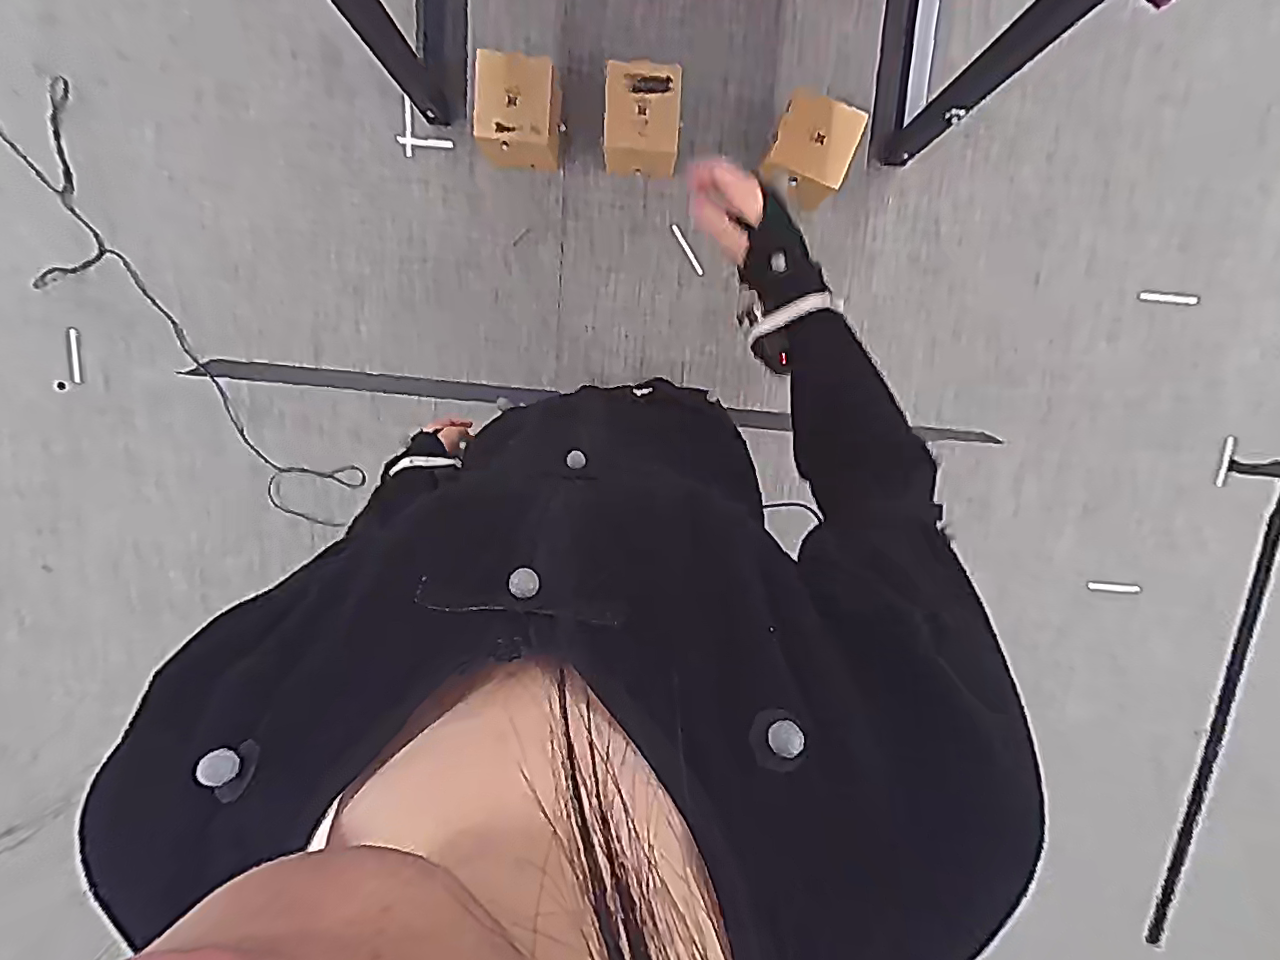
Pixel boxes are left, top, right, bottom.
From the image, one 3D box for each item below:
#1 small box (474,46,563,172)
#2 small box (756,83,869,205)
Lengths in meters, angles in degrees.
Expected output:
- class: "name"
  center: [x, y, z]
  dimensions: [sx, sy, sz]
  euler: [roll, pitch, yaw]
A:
- class: "small box"
  center: [-0.274, -0.848, 1.250]
  dimensions: [0.168, 0.176, 0.179]
  euler: [6, 99, -2]
- class: "small box"
  center: [0.395, -0.773, 1.270]
  dimensions: [0.179, 0.176, 0.168]
  euler: [21, 100, -3]
